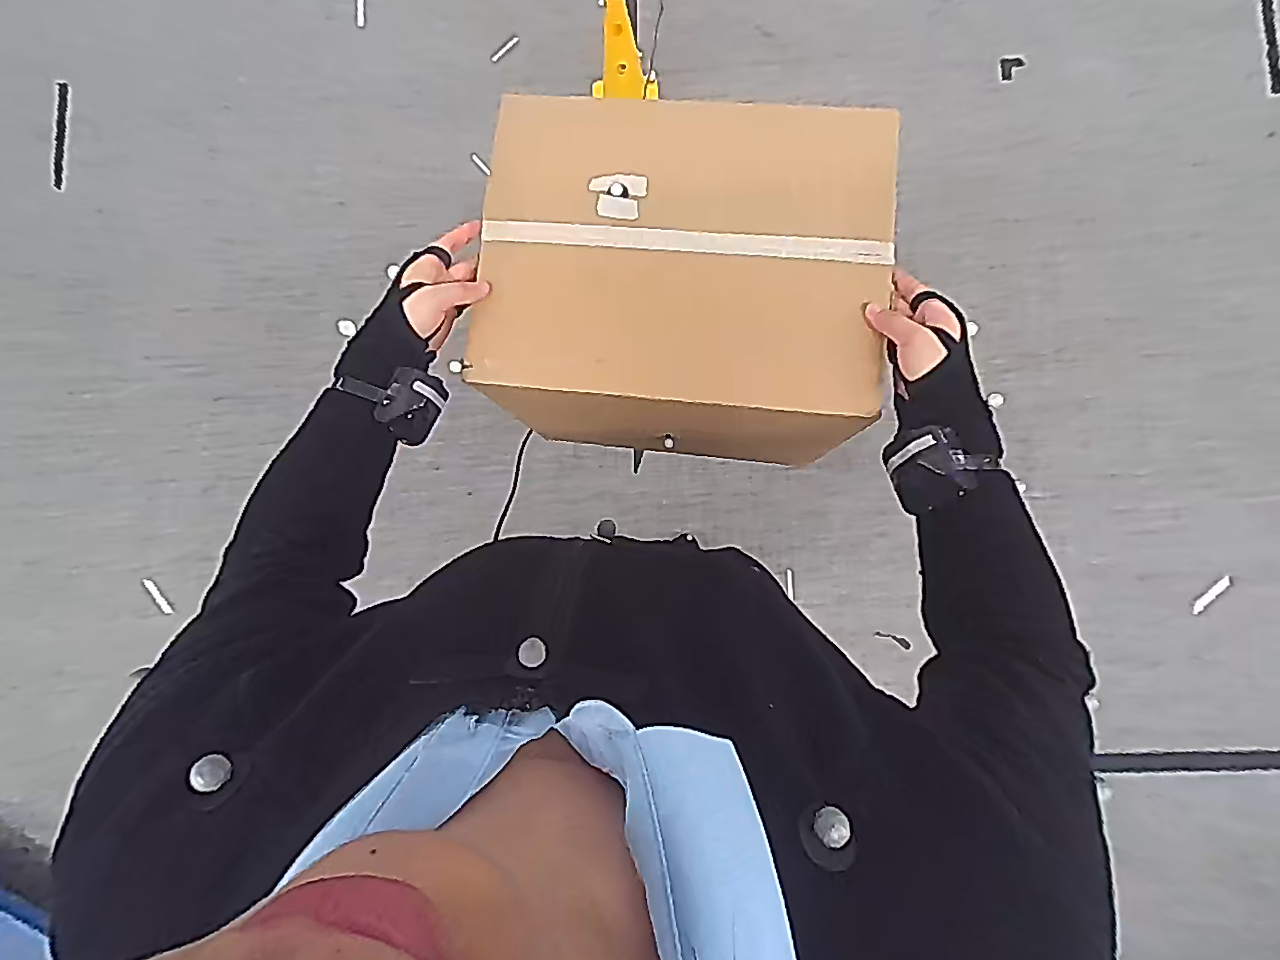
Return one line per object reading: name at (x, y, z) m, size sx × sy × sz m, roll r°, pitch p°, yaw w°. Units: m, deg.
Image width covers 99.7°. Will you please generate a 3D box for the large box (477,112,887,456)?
large box at (0.057, -0.215, 0.695) m, size 0.408 × 0.320 × 0.320 m, roll 5°, pitch 82°, yaw 6°
